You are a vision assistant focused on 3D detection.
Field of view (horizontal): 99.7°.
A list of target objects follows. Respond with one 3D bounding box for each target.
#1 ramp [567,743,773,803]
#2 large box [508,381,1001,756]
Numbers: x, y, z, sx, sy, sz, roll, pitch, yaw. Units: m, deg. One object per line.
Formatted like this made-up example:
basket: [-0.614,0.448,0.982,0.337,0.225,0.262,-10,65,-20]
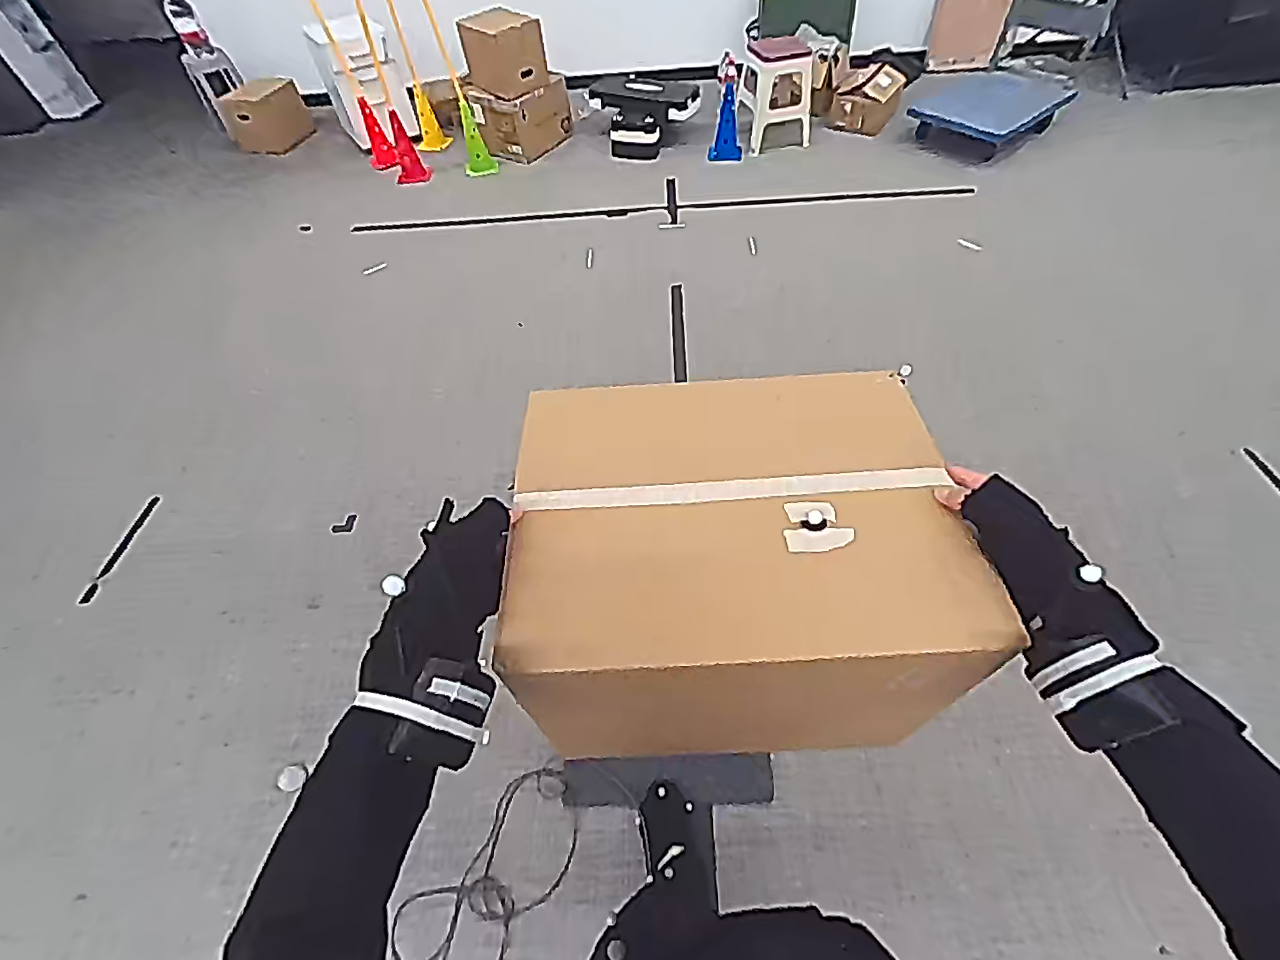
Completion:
ramp: [0.059,0.305,1.490,0.509,0.206,0.991,-3,53,0]
large box: [0.089,0.112,0.636,0.408,0.320,0.320,-3,52,1]
